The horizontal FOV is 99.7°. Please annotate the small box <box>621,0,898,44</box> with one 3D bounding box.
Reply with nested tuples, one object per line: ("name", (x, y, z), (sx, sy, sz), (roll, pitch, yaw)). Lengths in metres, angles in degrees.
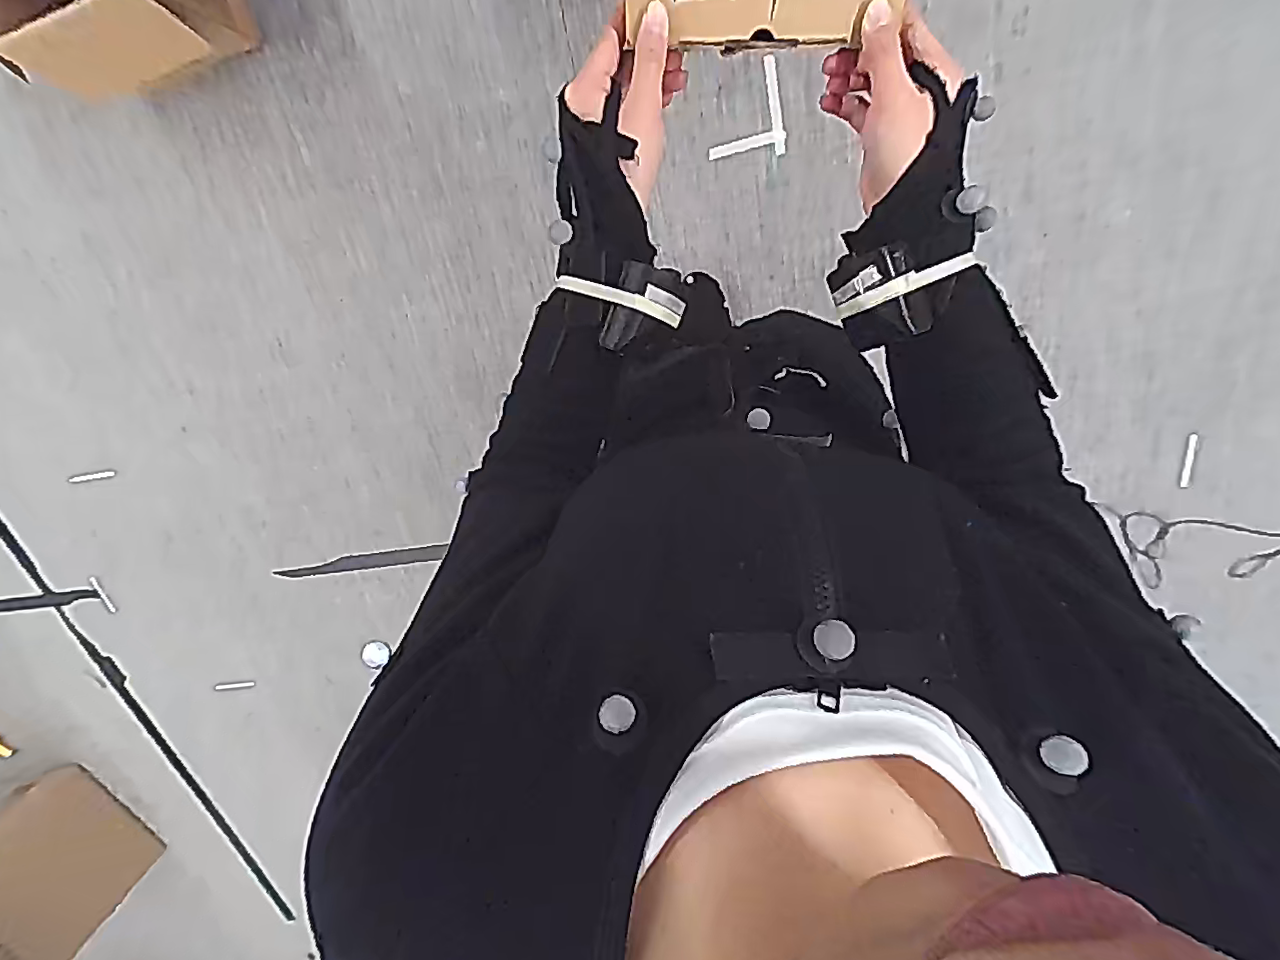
("small box", (0.074, -0.386, 0.338), (0.168, 0.176, 0.179), (1, 127, 1))
